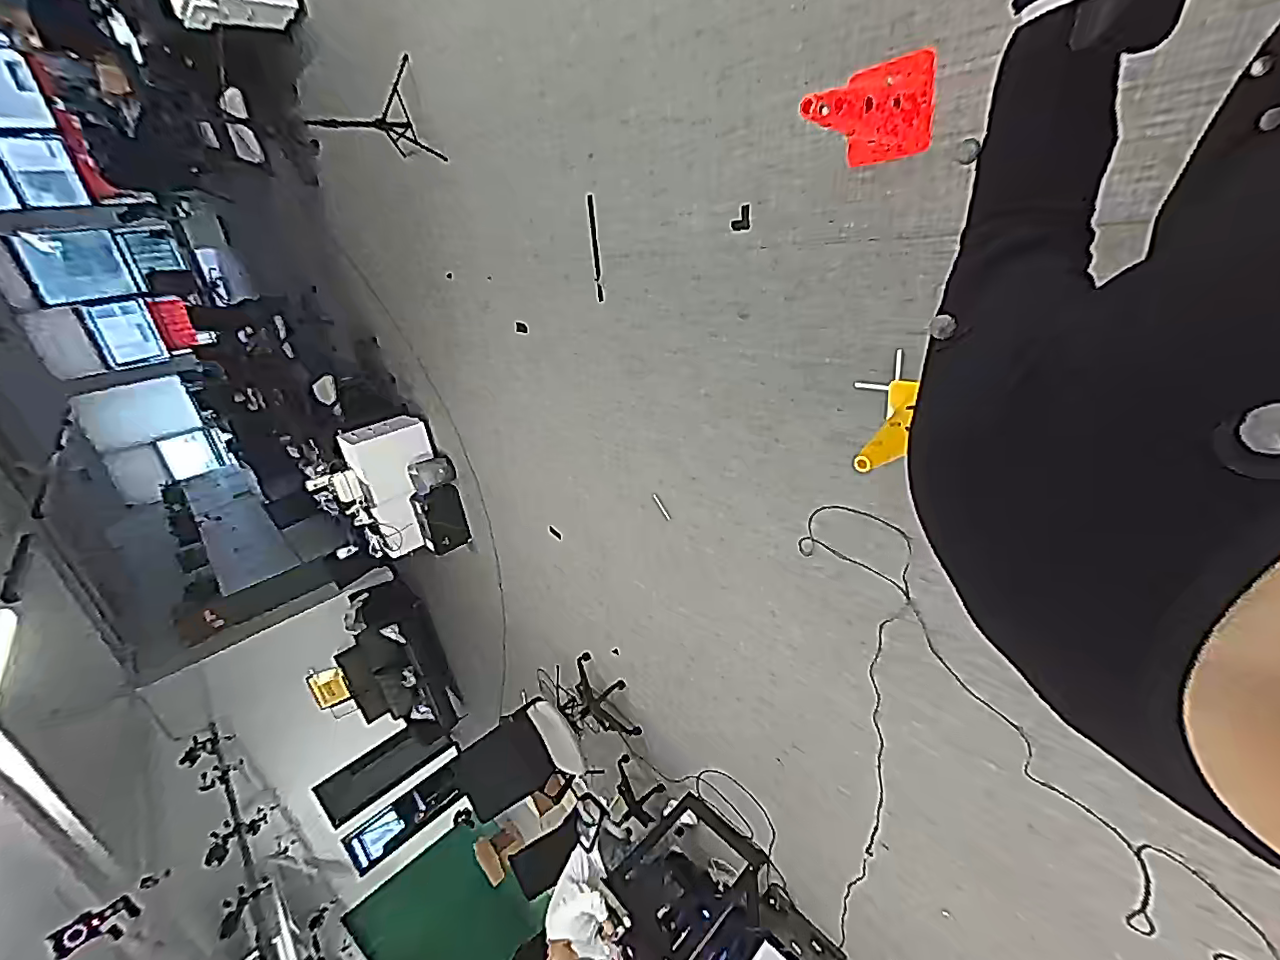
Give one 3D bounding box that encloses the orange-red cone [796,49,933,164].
[{"bbox_3d":[0.455,-0.800,1.169,0.198,0.360,0.199,18,127,45],"label":"orange-red cone"}]
